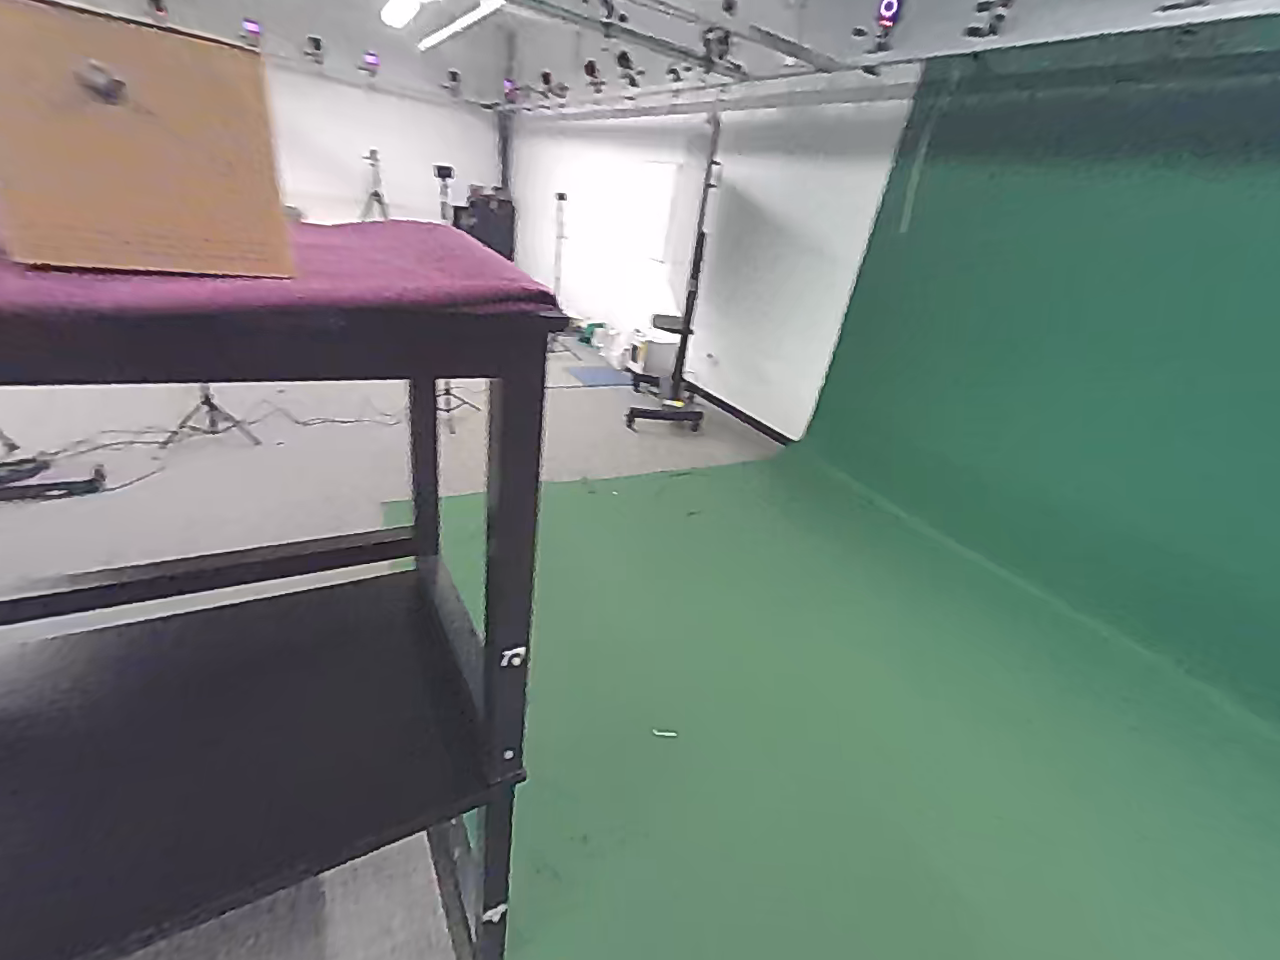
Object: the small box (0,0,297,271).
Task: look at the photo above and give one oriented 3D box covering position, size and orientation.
[{"bbox_3d":[-0.406,-0.276,0.457,0.179,0.176,0.168,-8,29,-31],"label":"small box"}]
